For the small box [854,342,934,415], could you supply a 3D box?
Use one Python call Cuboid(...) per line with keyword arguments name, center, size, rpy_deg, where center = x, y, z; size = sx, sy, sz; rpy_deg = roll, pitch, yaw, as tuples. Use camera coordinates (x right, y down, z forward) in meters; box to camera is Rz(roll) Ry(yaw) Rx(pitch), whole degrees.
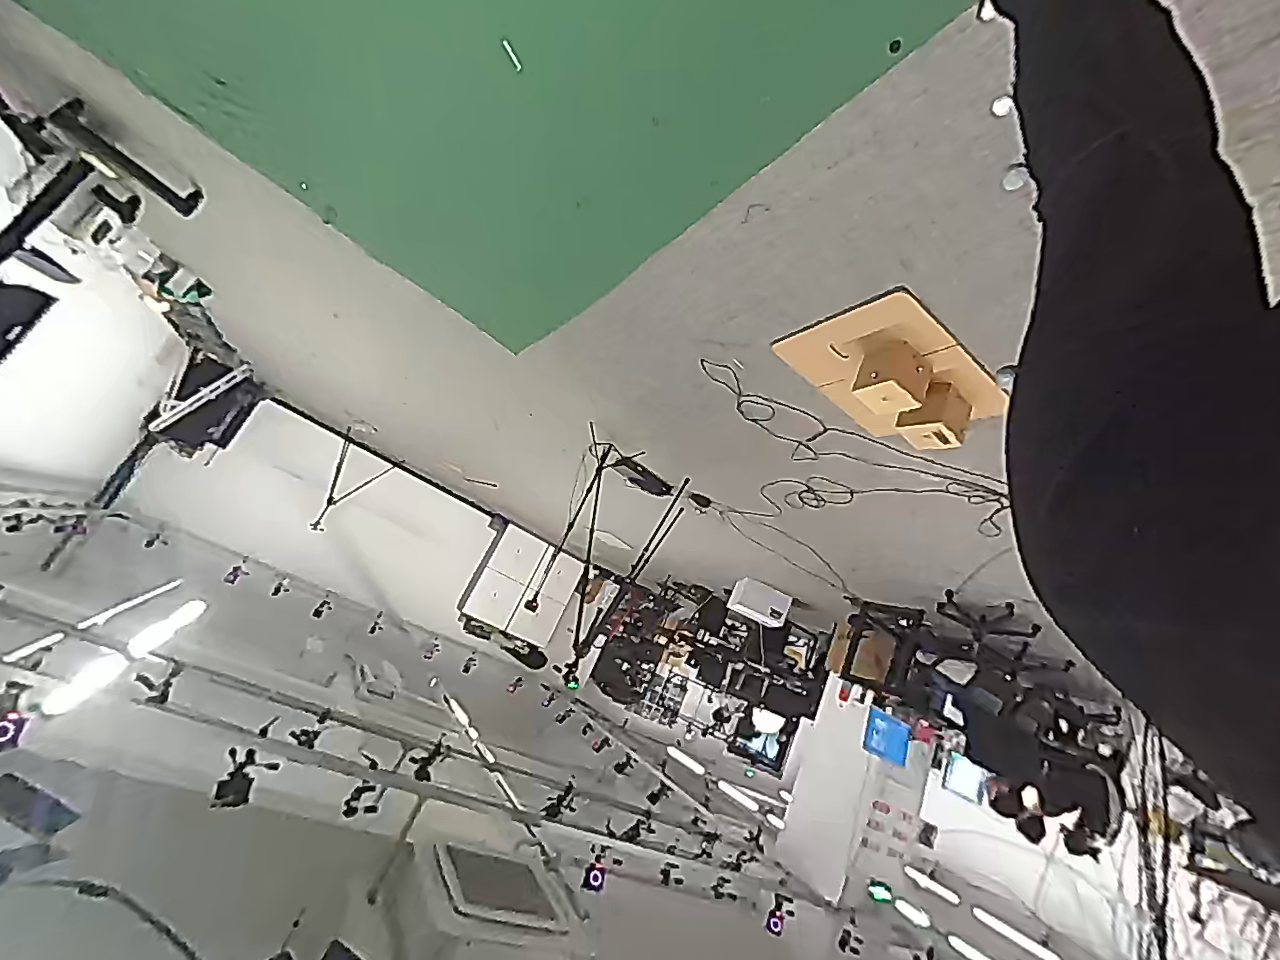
Cuboid(name="small box", center=(0.901, -0.358, 1.913), size=(0.168, 0.176, 0.179), rpy_deg=(32, 161, -20))
